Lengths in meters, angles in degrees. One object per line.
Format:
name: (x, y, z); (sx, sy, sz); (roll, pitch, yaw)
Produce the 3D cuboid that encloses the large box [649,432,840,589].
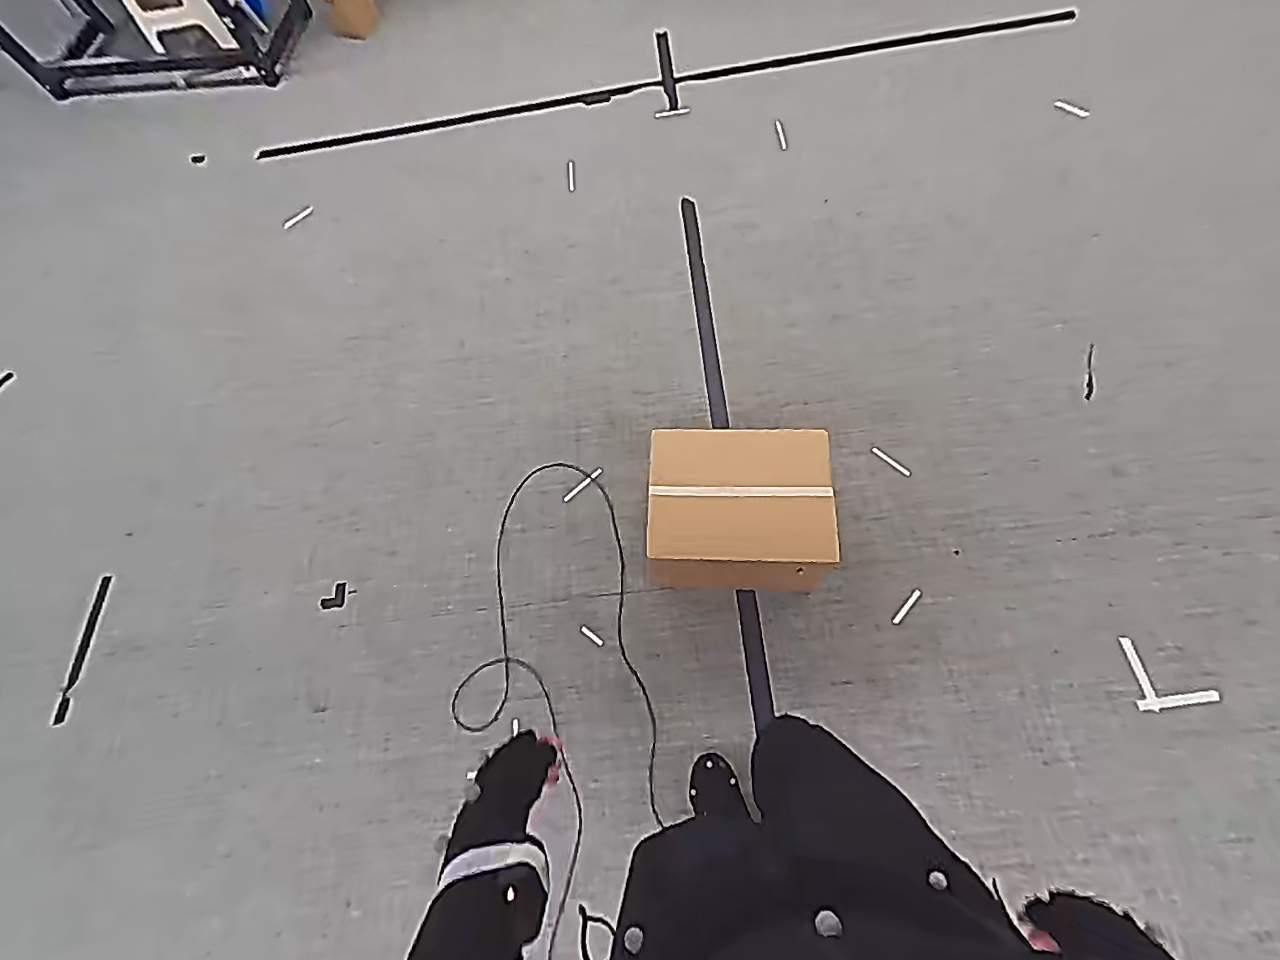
large box: (0.236, 0.090, 1.329); (0.408, 0.320, 0.320); (0, 67, 5)
